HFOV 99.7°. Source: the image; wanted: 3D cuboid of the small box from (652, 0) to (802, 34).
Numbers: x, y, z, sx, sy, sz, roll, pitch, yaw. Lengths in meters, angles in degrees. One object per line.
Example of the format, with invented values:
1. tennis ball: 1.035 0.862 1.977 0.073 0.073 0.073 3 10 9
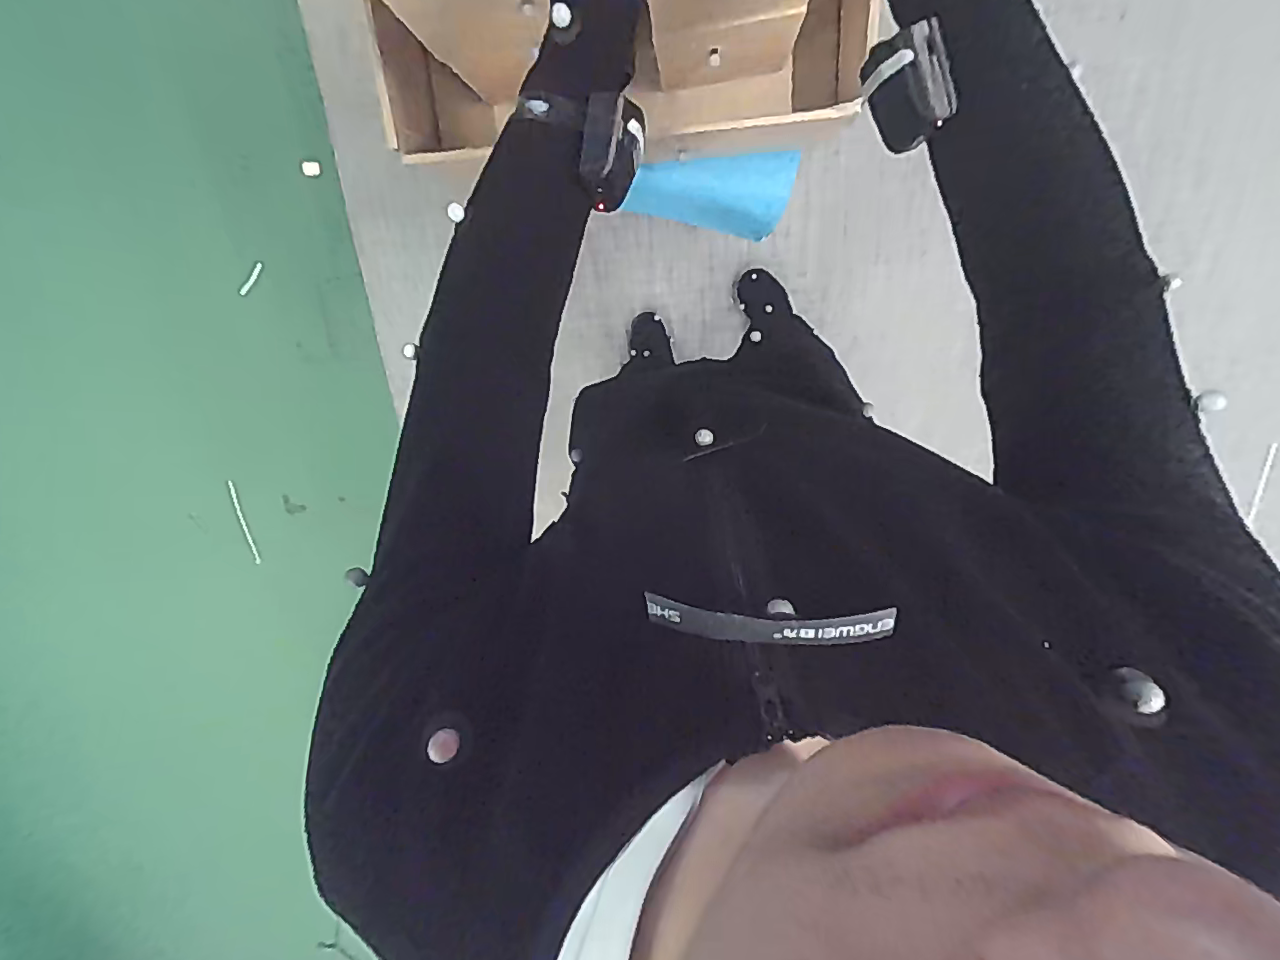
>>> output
1. small box: 0.085 -0.569 0.514 0.179 0.176 0.168 -6 108 9

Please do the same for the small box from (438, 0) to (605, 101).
1. small box: -0.148 -0.618 0.699 0.179 0.176 0.168 -3 108 5

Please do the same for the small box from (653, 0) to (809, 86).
1. small box: 0.107 -0.620 0.667 0.179 0.176 0.168 -4 108 9
